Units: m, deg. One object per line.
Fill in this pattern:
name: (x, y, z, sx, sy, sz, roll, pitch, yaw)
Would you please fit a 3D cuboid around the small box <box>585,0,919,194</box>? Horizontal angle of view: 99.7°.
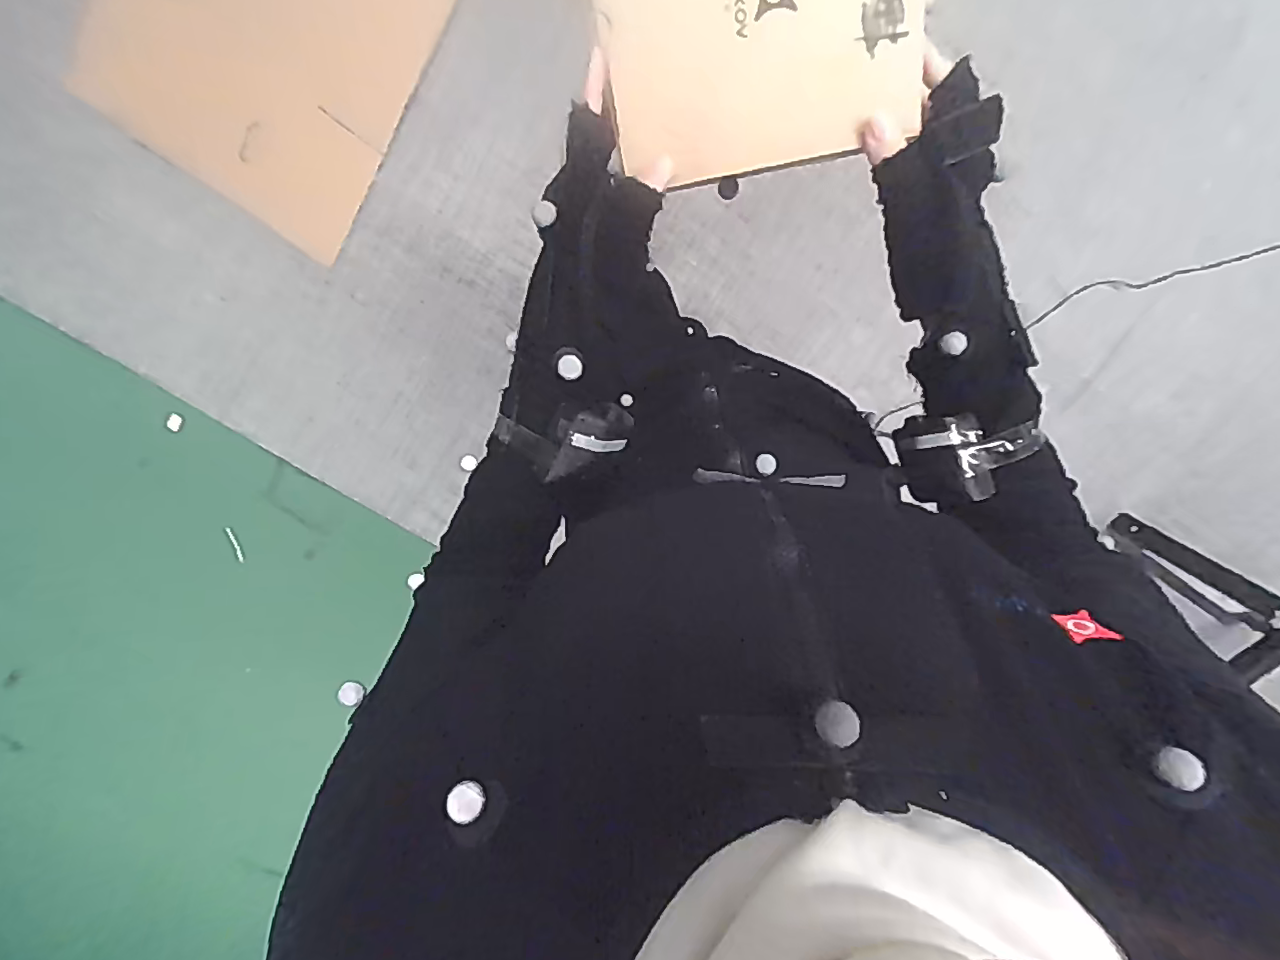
small box: (0.060, -0.304, 0.361, 0.179, 0.176, 0.168, -12, 113, 7)
